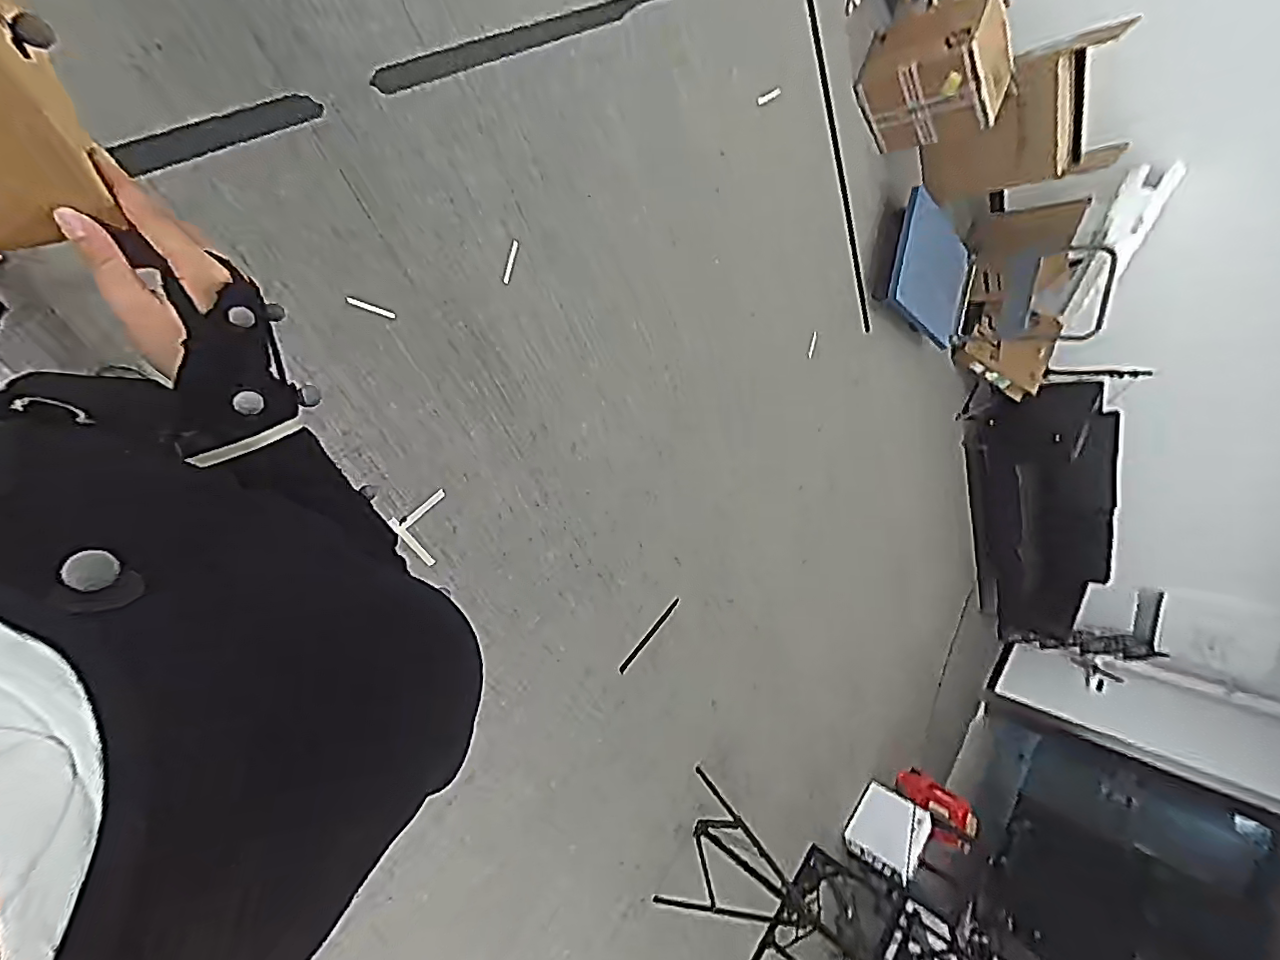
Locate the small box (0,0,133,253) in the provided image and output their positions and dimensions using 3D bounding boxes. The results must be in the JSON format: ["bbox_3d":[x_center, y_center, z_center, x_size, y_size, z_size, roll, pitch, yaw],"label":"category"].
[{"bbox_3d":[-0.387,-0.212,0.228,0.179,0.168,0.176,-27,76,-25],"label":"small box"}]
